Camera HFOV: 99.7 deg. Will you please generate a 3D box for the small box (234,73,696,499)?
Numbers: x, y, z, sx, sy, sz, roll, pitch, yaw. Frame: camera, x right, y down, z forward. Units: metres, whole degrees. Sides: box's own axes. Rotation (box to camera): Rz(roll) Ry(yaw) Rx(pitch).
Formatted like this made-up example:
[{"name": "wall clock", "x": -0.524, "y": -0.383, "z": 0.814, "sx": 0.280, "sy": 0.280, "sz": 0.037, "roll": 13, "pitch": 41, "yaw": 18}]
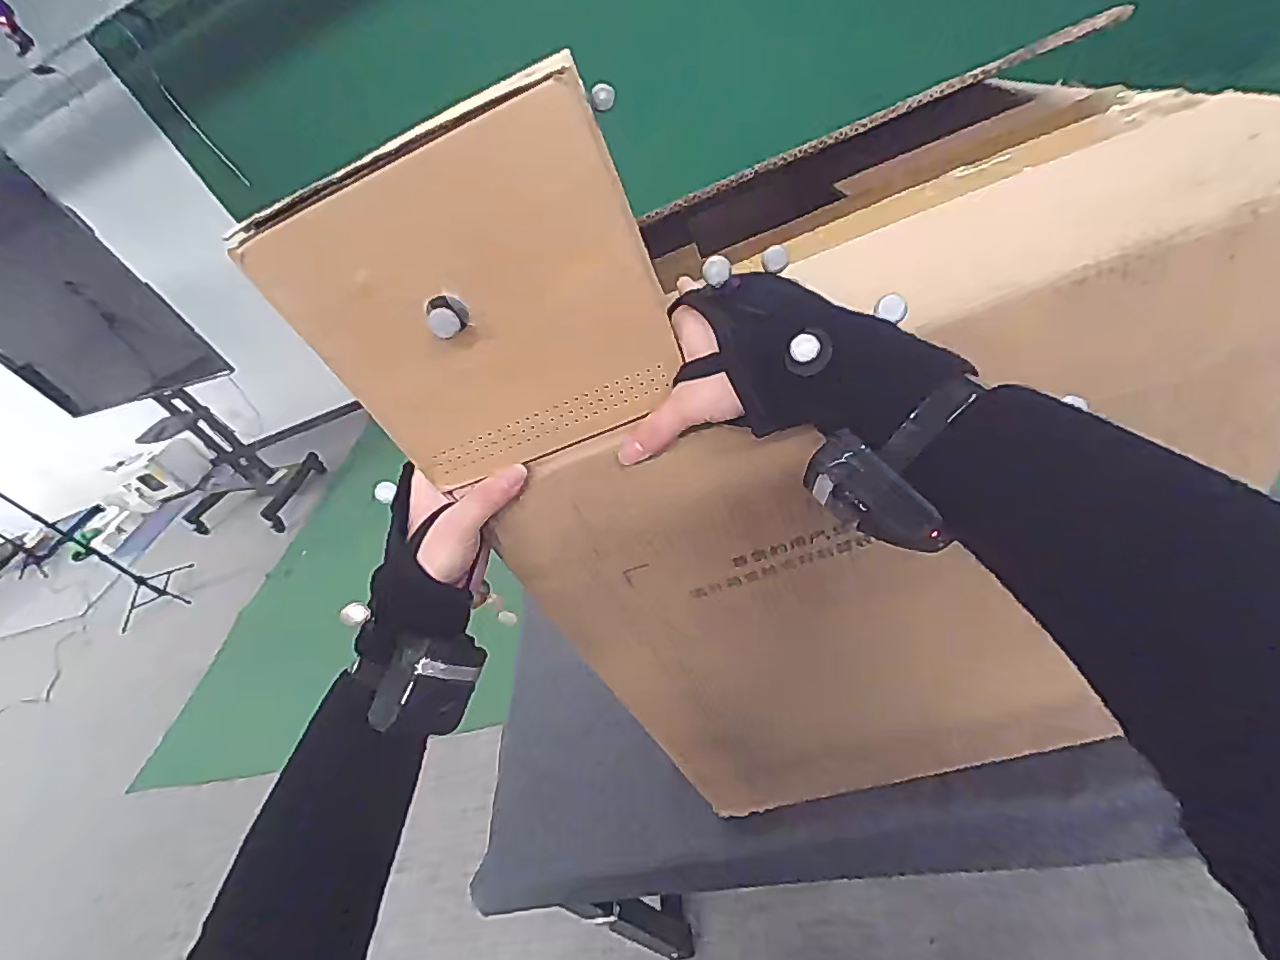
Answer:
[{"name": "small box", "x": -0.083, "y": -0.115, "z": 0.339, "sx": 0.179, "sy": 0.176, "sz": 0.168, "roll": -21, "pitch": 40, "yaw": 10}]
